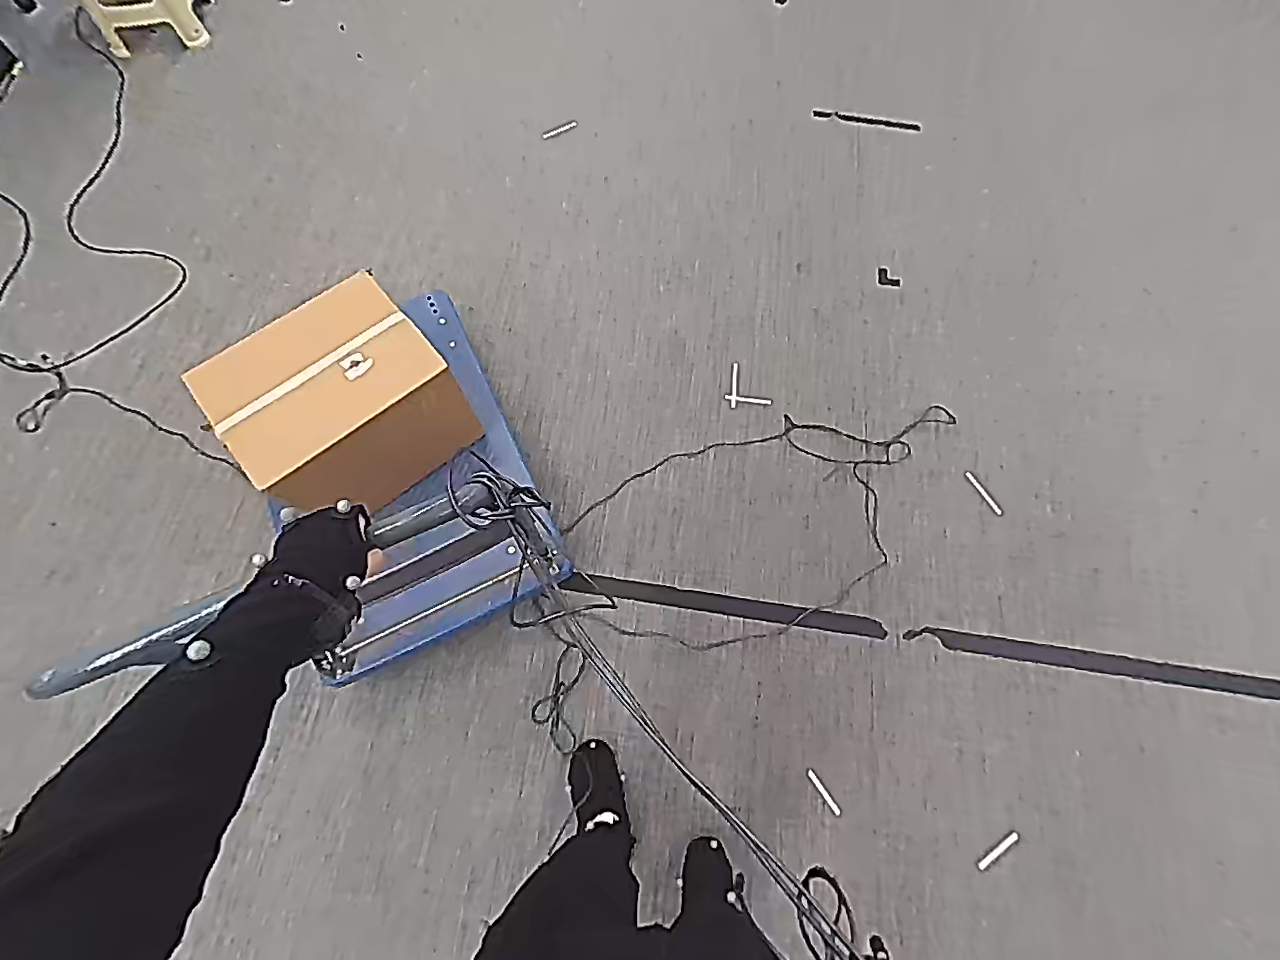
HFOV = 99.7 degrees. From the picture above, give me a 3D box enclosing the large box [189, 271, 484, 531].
[{"bbox_3d":[-0.622,-0.157,1.181,0.408,0.320,0.320,-39,76,-14],"label":"large box"}]
